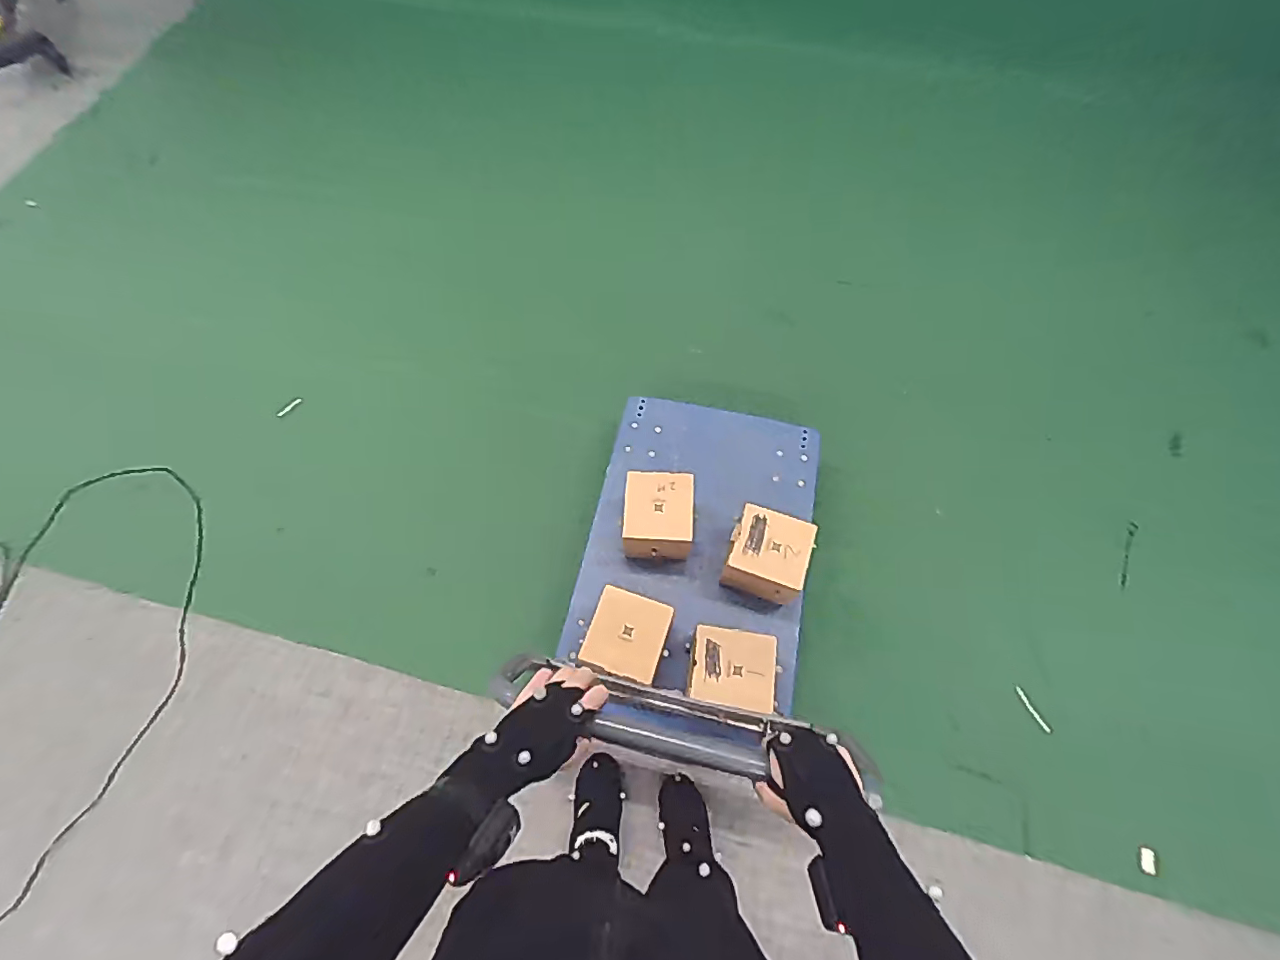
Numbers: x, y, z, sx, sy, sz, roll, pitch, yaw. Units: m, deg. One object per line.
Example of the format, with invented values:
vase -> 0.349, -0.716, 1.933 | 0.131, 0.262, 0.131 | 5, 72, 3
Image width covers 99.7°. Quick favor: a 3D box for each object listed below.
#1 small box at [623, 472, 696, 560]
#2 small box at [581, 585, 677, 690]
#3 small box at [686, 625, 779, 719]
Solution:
small box -> 0.050, 0.096, 1.361 | 0.168, 0.176, 0.179 | 4, 66, 2
small box -> -0.024, 0.366, 1.241 | 0.168, 0.176, 0.179 | 18, 68, 8
small box -> 0.200, 0.433, 1.205 | 0.179, 0.176, 0.168 | 9, 66, 3
